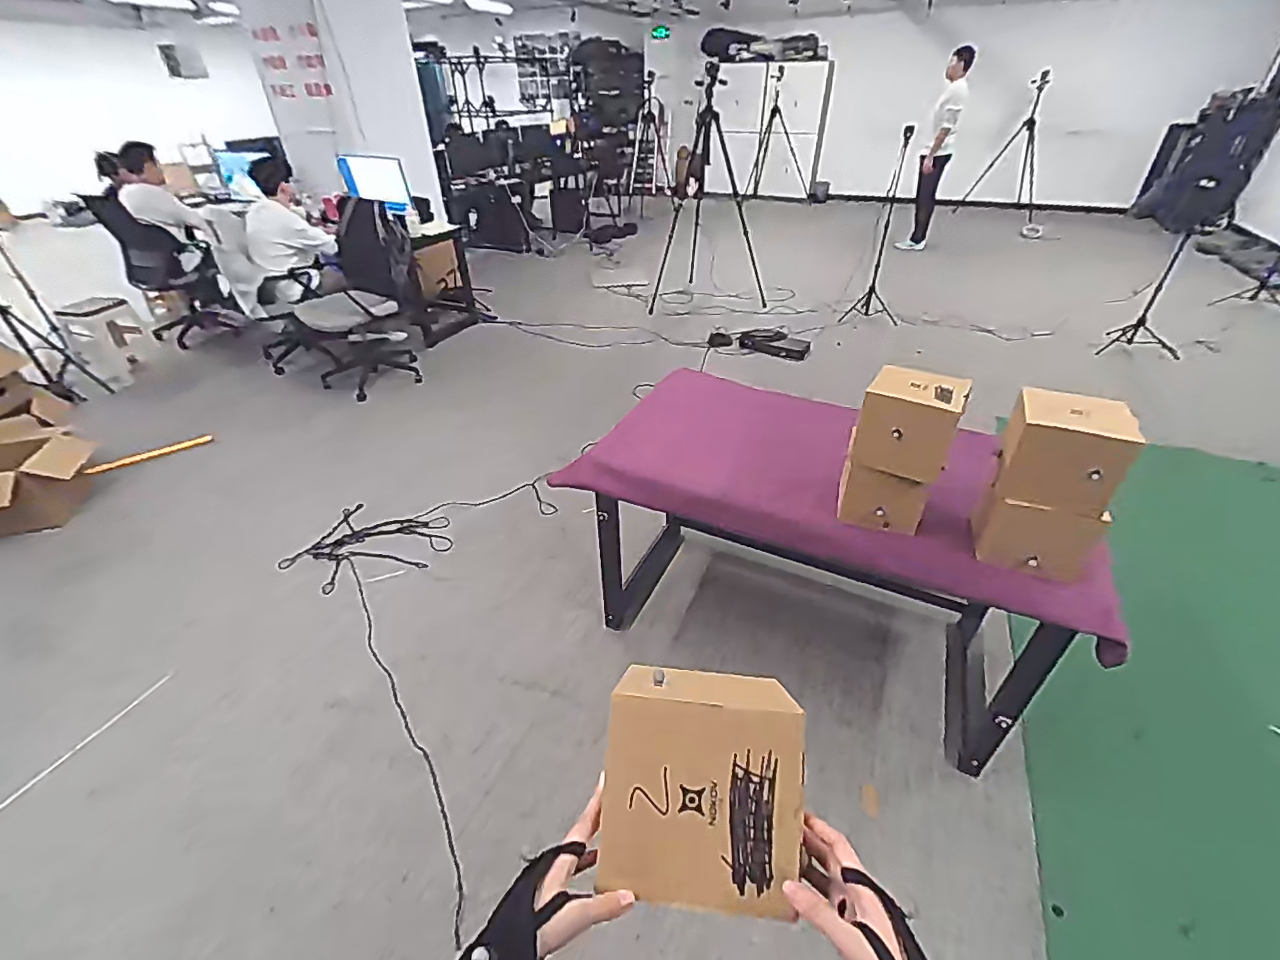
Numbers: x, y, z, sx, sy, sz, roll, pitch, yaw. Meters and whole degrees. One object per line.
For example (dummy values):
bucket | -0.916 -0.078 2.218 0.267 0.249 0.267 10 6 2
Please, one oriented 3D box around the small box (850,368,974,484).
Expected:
small box | 0.562 -0.112 1.128 0.179 0.176 0.168 20 39 29

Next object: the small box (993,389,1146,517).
small box | 0.806 -0.051 1.033 0.179 0.176 0.168 15 39 24

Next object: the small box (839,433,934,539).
small box | 0.561 0.007 1.245 0.168 0.176 0.179 10 36 17

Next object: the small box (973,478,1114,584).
small box | 0.817 0.089 1.117 0.179 0.176 0.168 12 37 19
